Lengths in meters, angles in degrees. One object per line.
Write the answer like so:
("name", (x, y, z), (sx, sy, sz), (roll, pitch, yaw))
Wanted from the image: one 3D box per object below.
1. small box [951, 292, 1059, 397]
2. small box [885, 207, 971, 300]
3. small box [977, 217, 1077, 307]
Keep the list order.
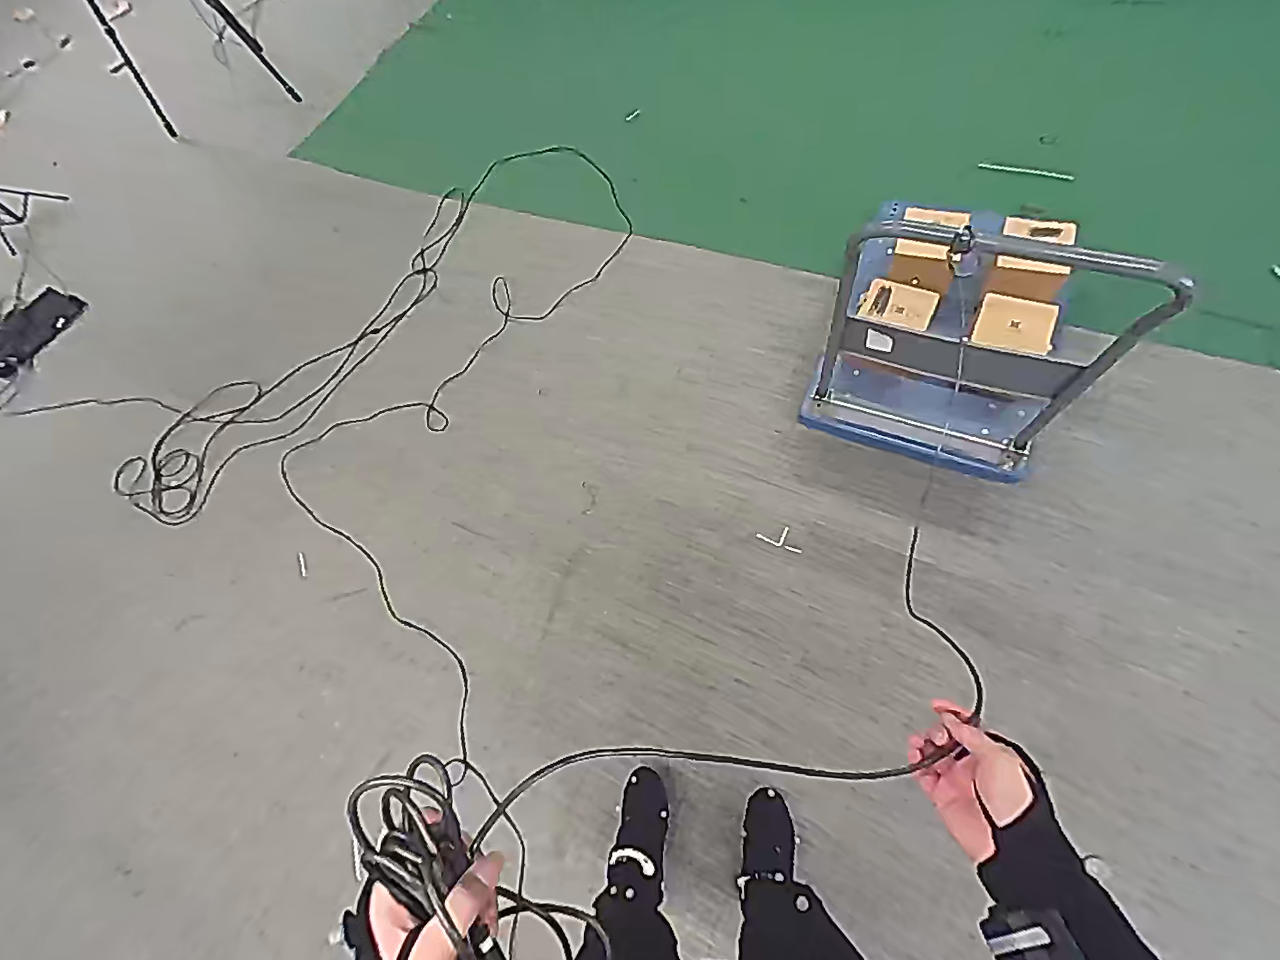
("small box", (0.933, -0.347, 1.398), (0.168, 0.176, 0.179), (21, 73, 19))
("small box", (0.818, -0.646, 1.553), (0.168, 0.176, 0.179), (17, 71, 17))
("small box", (1.048, -0.579, 1.476), (0.168, 0.176, 0.179), (16, 72, 19))
